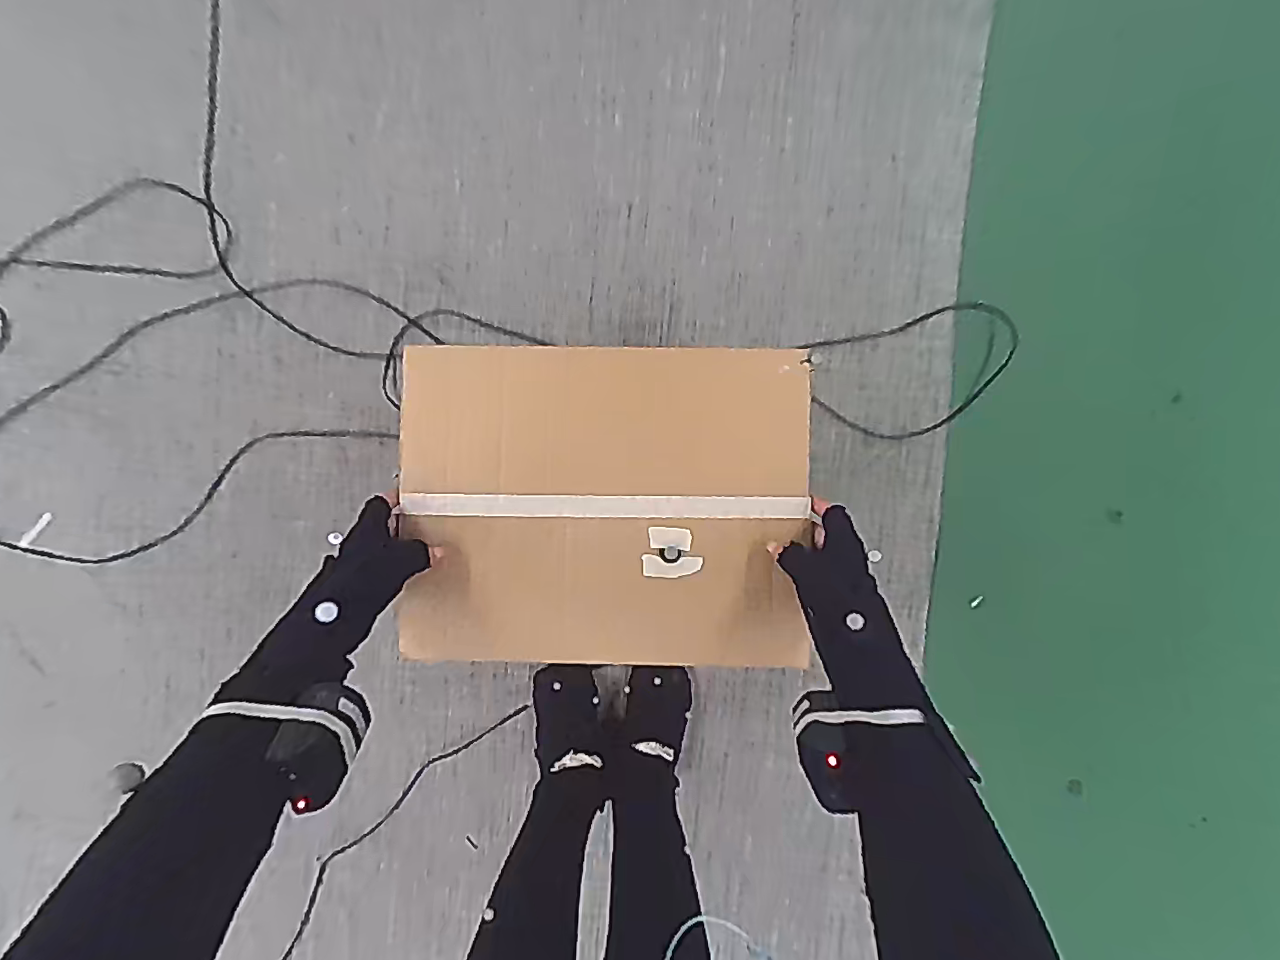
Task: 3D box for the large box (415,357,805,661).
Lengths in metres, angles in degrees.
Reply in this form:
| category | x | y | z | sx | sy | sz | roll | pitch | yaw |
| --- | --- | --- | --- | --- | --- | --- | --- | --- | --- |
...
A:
| category | x | y | z | sx | sy | sz | roll | pitch | yaw |
| --- | --- | --- | --- | --- | --- | --- | --- | --- | --- |
| large box | -0.032 | 0.032 | 0.700 | 0.408 | 0.320 | 0.320 | 0 | 90 | 1 |
